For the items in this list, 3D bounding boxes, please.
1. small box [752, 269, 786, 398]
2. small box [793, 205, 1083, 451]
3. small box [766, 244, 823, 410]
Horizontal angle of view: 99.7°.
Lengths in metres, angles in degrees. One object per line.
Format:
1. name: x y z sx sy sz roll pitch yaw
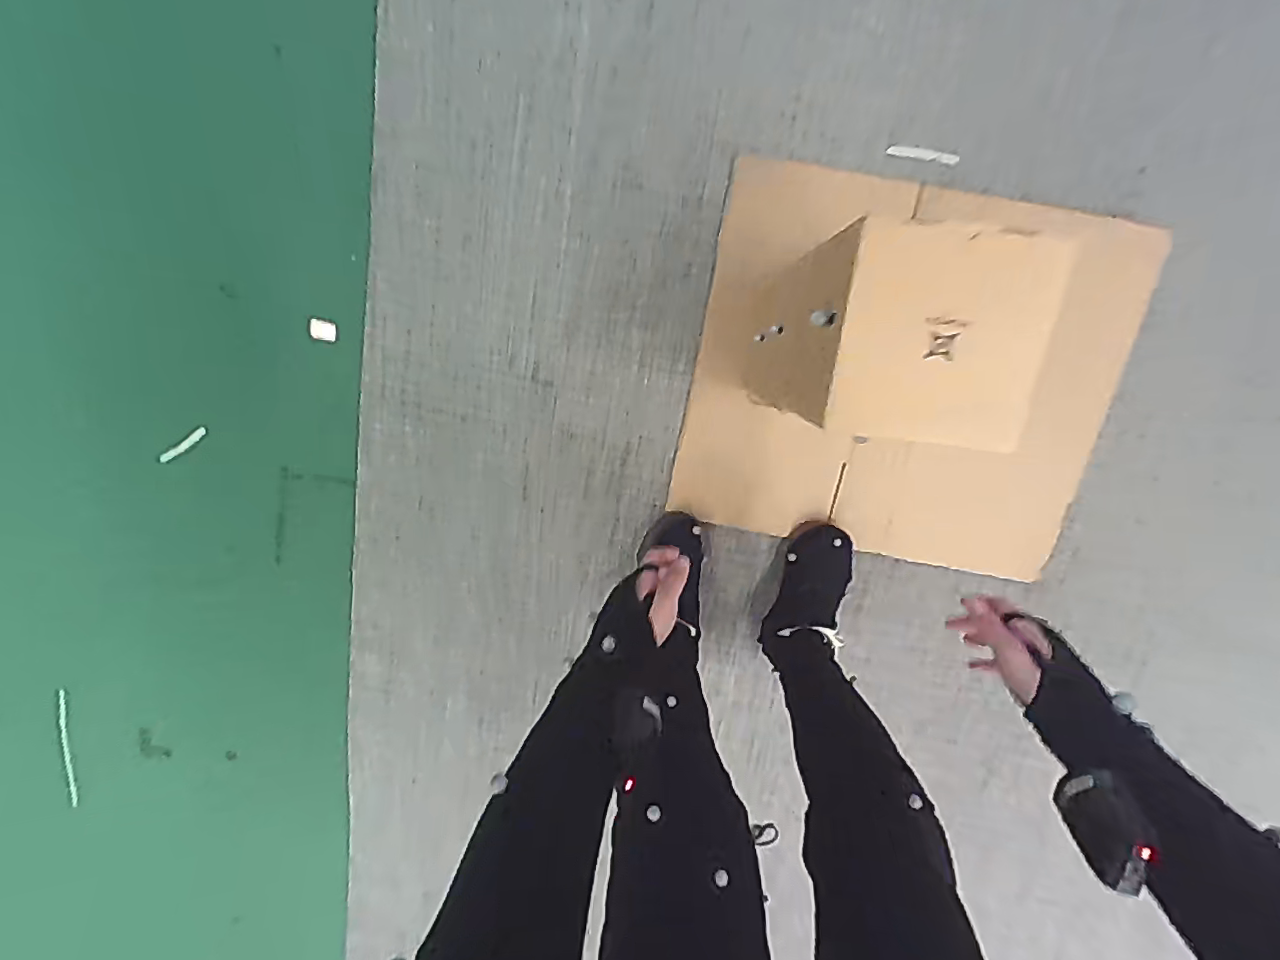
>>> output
1. small box: 0.268 -0.215 0.823 0.168 0.176 0.179 3 105 3
2. small box: 0.250 -0.137 0.508 0.168 0.176 0.179 7 104 3
3. small box: 0.257 -0.175 0.665 0.168 0.176 0.179 7 104 3
